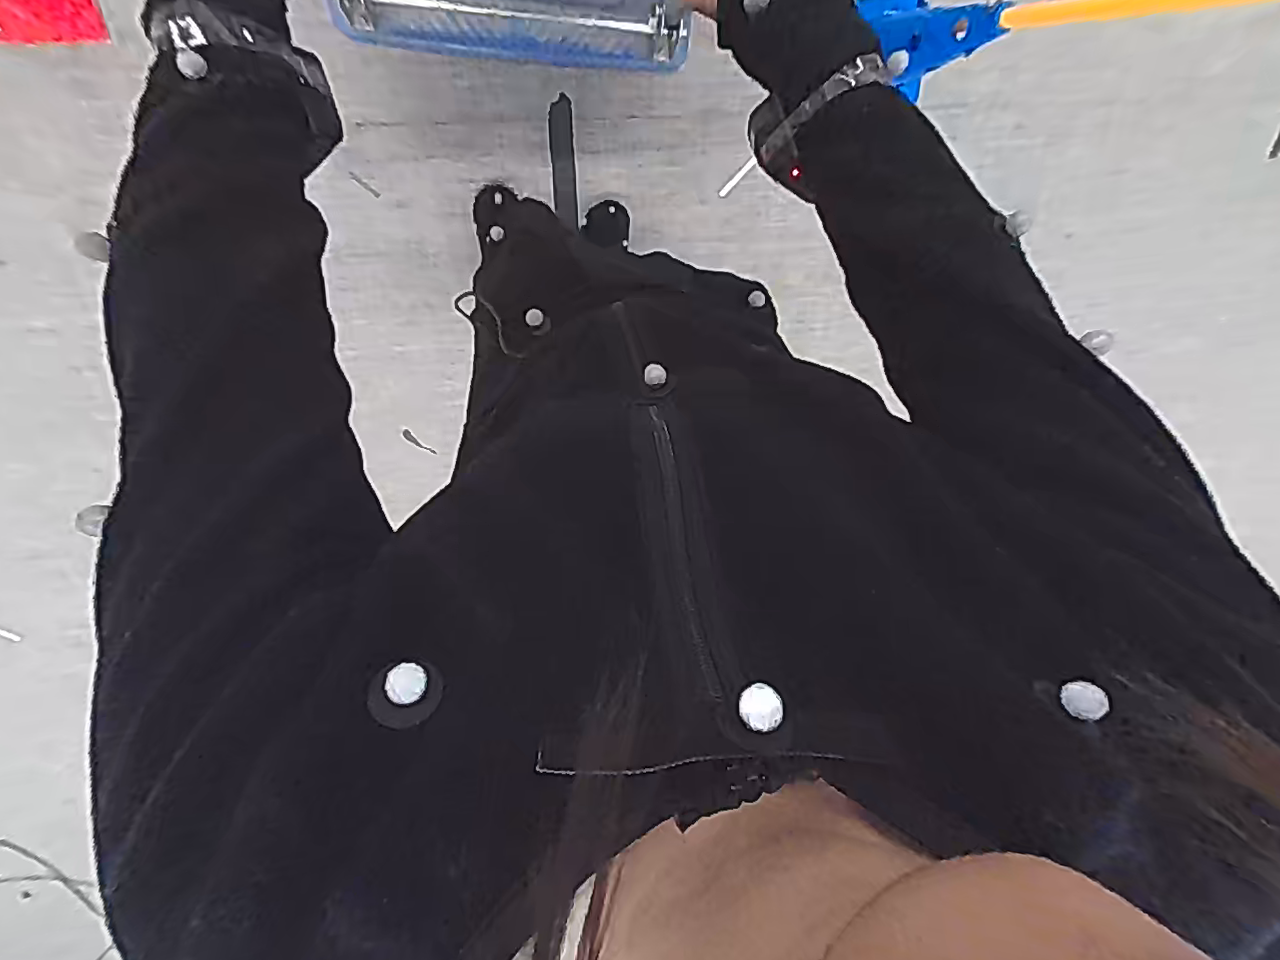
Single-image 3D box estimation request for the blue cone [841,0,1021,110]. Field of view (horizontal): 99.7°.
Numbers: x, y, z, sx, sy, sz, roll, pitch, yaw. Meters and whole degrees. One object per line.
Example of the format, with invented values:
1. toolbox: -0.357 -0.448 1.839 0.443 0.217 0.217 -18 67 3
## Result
1. blue cone: 0.542 -0.819 0.998 0.193 0.380 0.192 -10 120 -6
